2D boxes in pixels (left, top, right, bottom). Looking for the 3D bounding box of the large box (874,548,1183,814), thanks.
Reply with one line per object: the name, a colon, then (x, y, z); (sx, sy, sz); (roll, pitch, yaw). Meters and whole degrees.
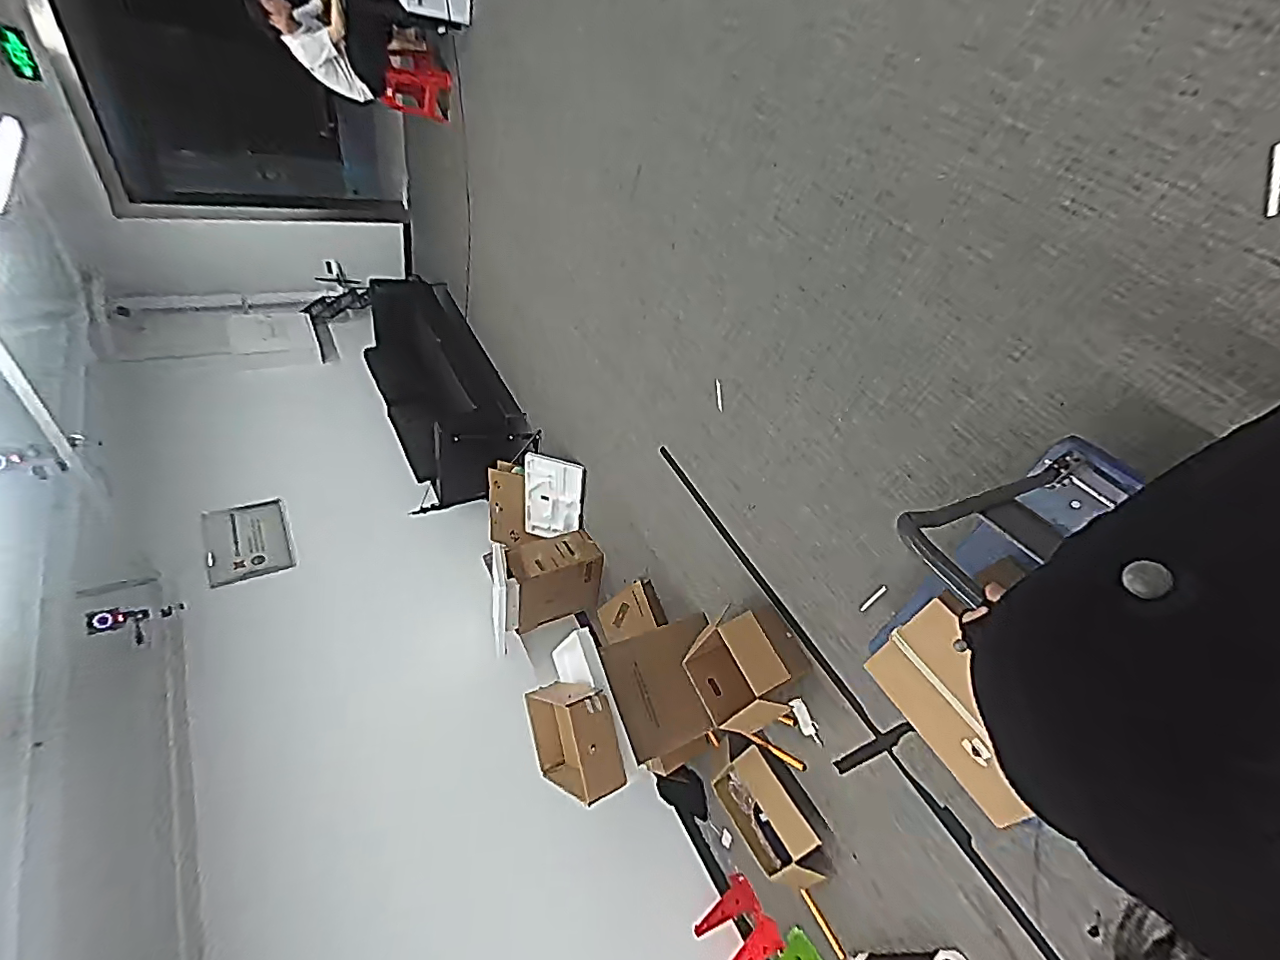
large box: (0.835, 0.426, 1.209); (0.408, 0.320, 0.320); (53, 143, 32)
